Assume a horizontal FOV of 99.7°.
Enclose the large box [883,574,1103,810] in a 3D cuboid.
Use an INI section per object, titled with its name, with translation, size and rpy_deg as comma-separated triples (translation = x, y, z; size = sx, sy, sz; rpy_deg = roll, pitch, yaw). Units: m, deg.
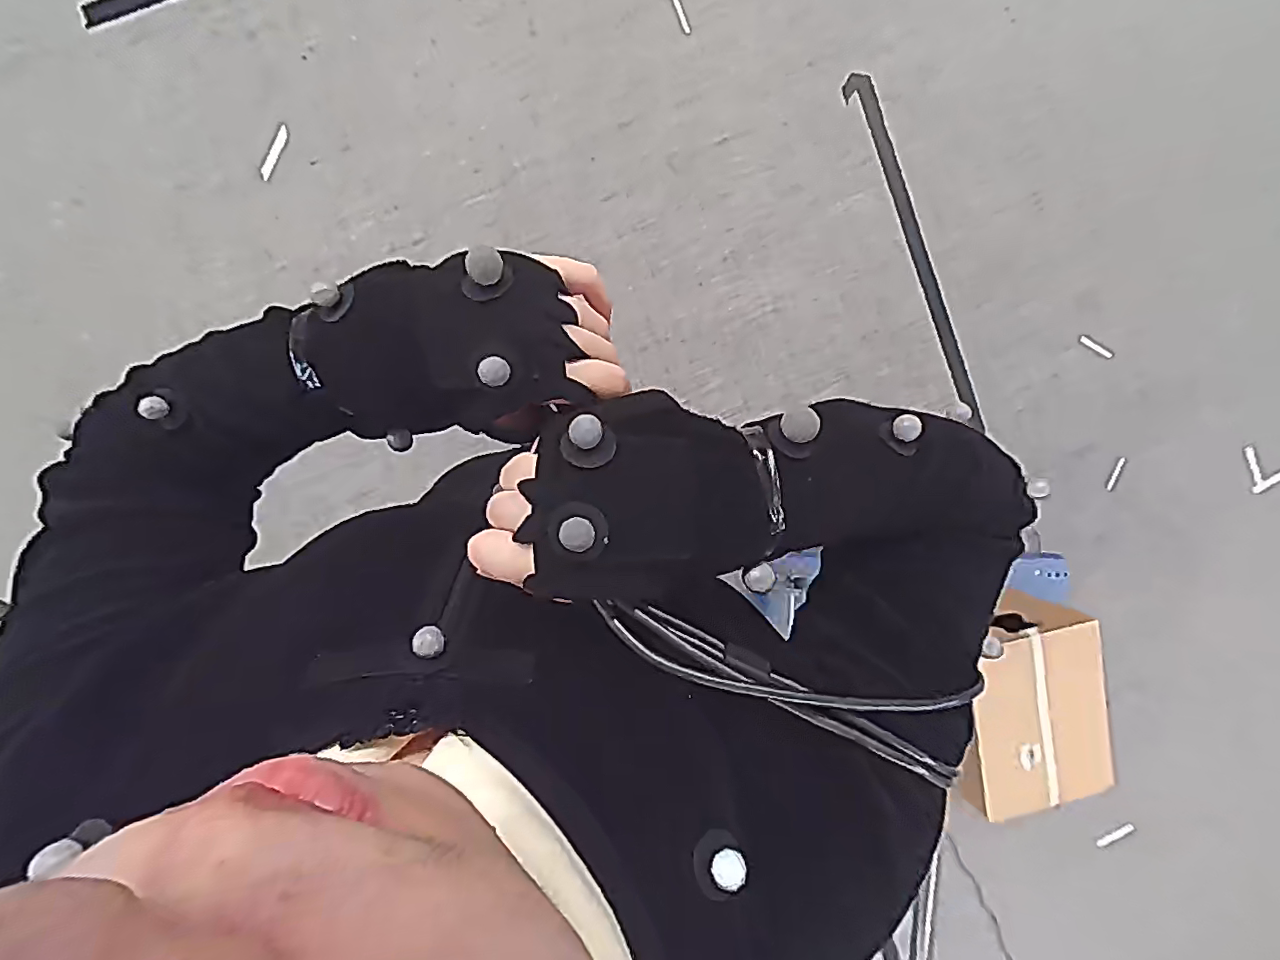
[large box]
translation = 0.843, 0.489, 1.326
size = 0.320, 0.320, 0.408
rpy_deg = -11, 97, -5
